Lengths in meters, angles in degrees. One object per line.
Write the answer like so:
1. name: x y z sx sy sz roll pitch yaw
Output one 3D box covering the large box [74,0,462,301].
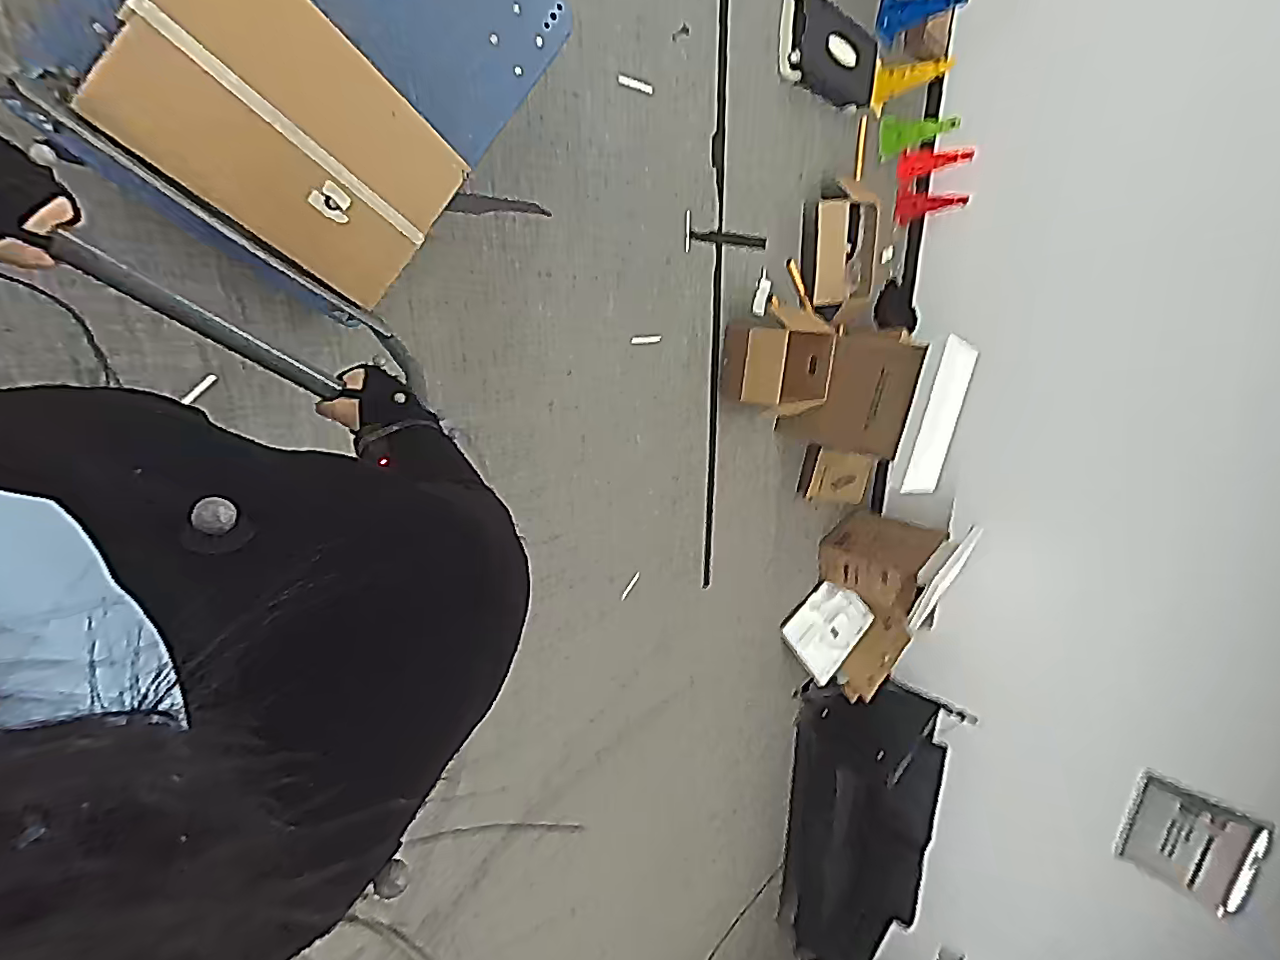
1. large box: -0.602 -0.576 0.916 0.320 0.320 0.408 -54 137 -1
